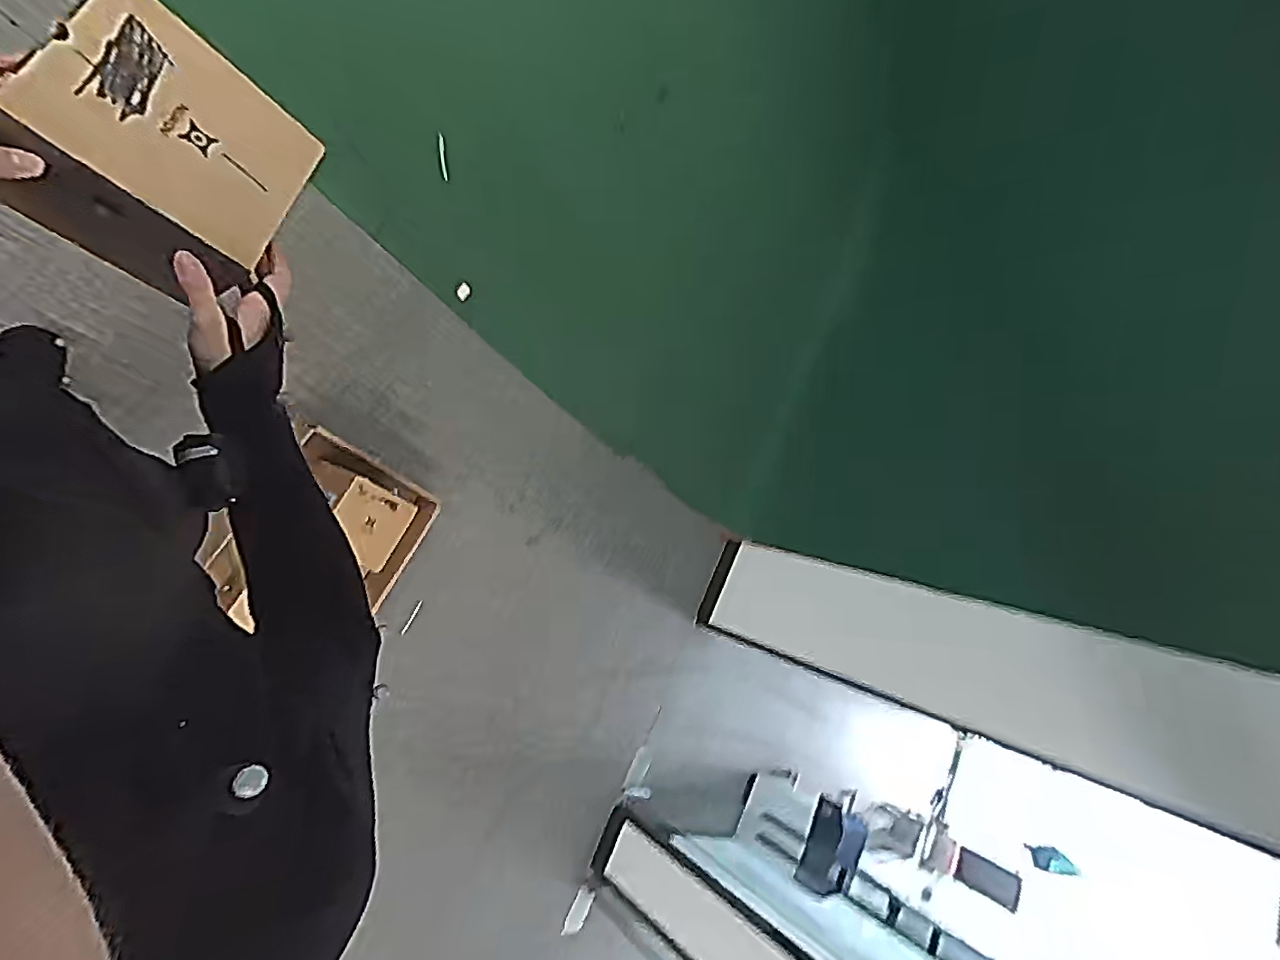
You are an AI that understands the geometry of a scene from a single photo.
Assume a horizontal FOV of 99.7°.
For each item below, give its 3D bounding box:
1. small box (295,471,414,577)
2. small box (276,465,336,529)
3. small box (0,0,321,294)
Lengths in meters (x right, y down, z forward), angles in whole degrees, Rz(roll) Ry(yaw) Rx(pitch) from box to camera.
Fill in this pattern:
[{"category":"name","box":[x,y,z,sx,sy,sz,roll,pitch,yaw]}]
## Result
[{"category":"small box","box":[-0.675,0.098,1.270,0.168,0.176,0.179,42,69,-42]},{"category":"small box","box":[-0.789,0.075,1.387,0.179,0.176,0.168,44,67,-42]},{"category":"small box","box":[-0.449,-0.301,0.502,0.179,0.176,0.168,35,62,-47]}]
